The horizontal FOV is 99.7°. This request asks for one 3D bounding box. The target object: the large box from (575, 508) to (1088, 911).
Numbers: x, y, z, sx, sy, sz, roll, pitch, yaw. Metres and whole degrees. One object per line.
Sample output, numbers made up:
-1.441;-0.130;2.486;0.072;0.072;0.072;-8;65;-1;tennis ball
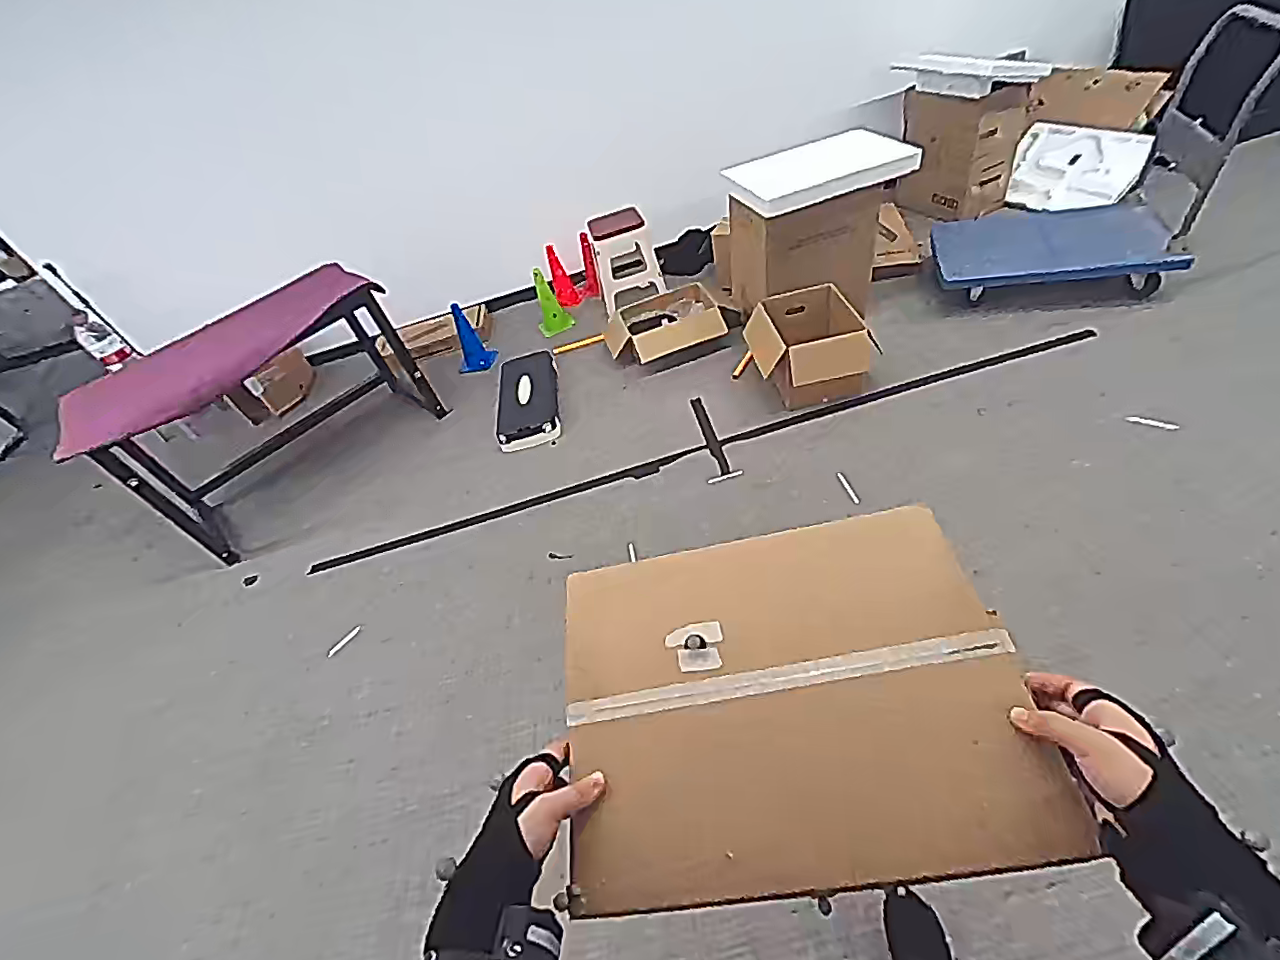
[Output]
0.169;0.280;0.631;0.408;0.320;0.320;-14;50;8;large box
